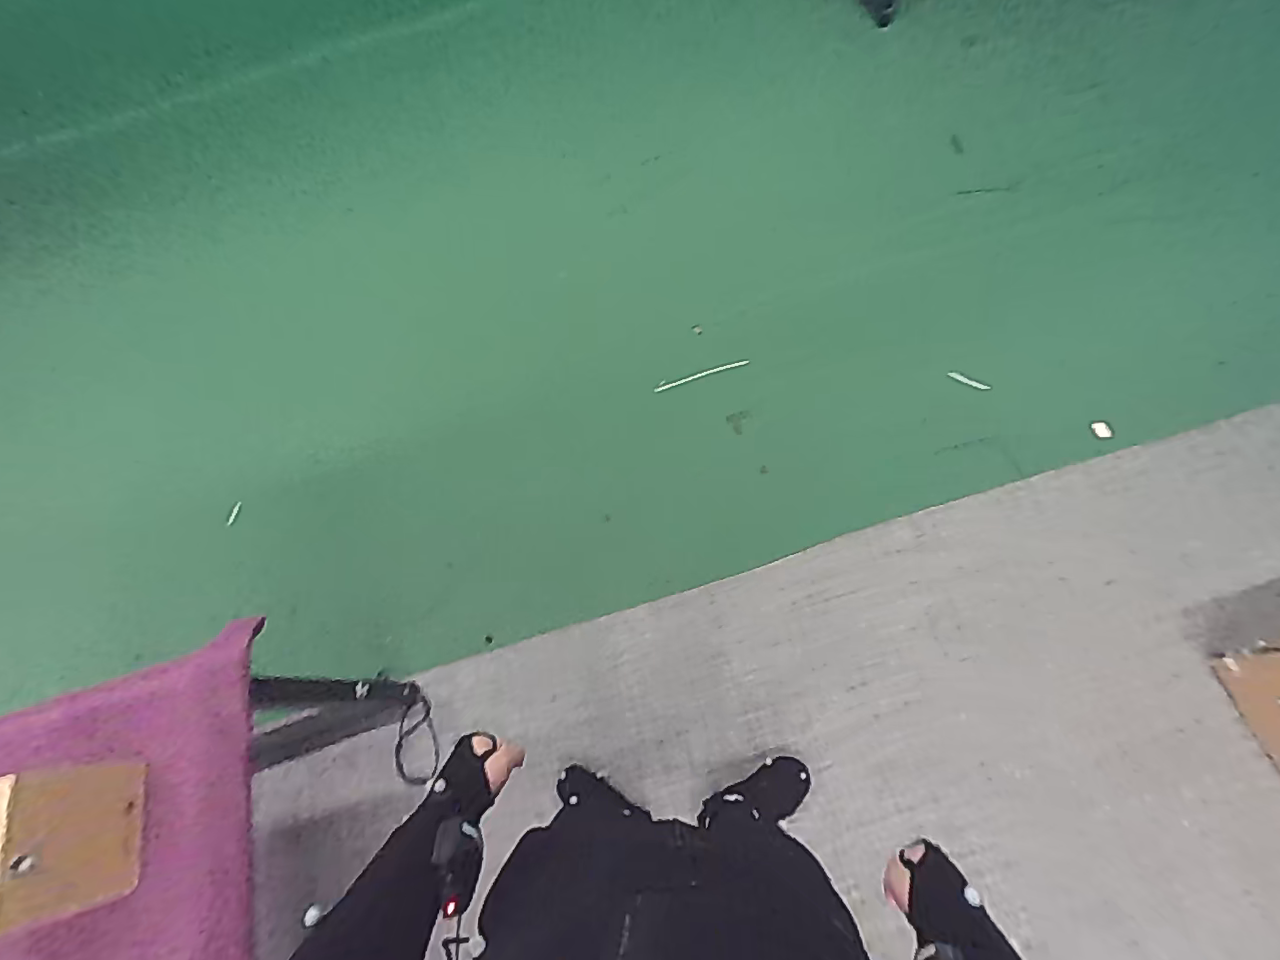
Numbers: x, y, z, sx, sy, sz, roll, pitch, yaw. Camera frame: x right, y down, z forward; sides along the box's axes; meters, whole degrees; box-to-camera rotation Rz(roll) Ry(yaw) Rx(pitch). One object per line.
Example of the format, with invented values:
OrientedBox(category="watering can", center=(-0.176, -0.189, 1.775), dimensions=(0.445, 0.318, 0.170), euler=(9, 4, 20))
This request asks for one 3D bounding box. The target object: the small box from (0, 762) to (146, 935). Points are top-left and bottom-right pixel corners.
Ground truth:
OrientedBox(category="small box", center=(-0.794, 0.477, 0.687), dimensions=(0.179, 0.176, 0.168), euler=(-18, 69, 1))
